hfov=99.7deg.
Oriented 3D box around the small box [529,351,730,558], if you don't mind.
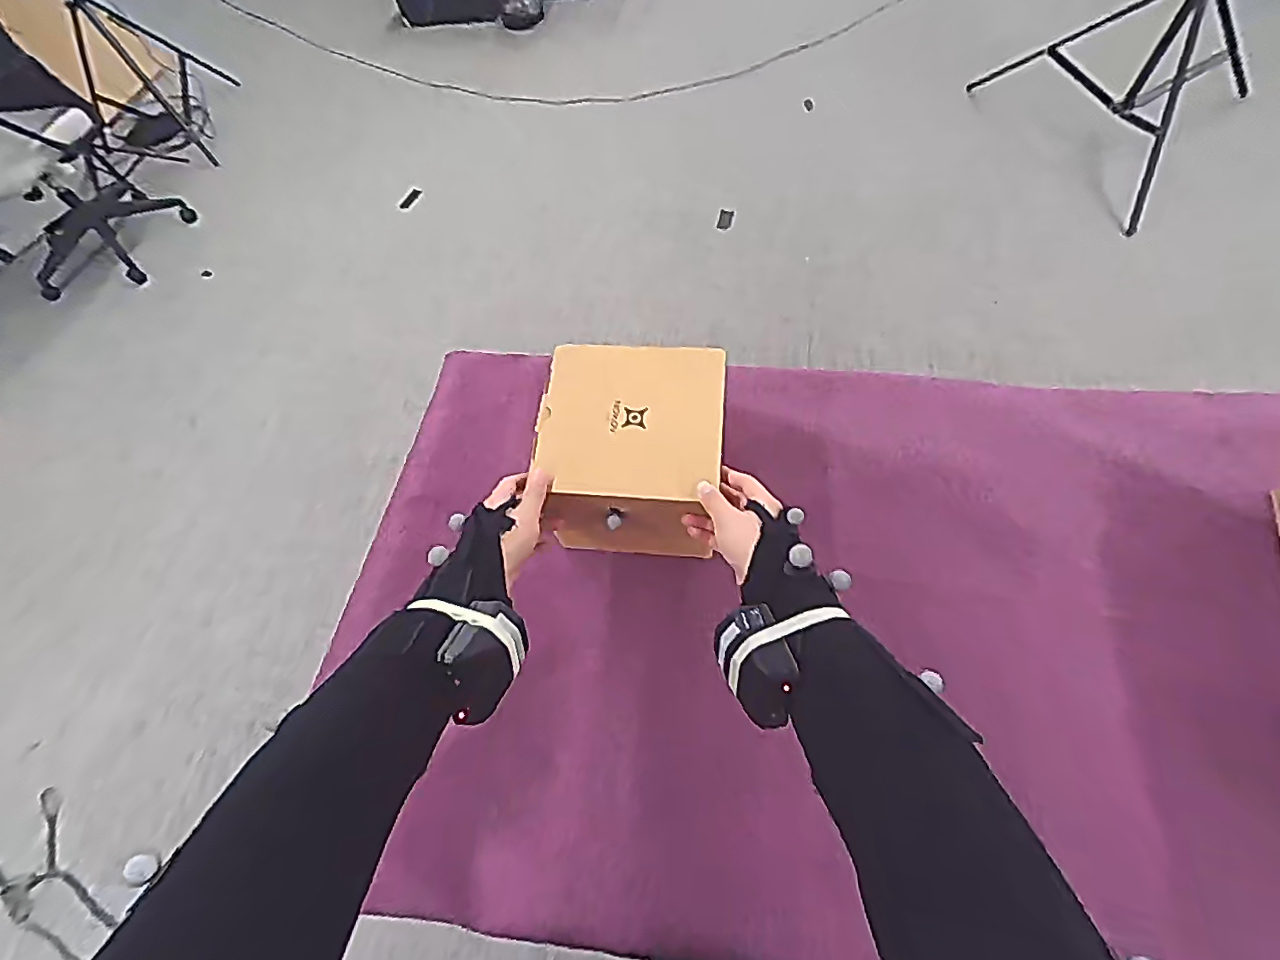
[{"bbox_3d":[0.001,-0.019,0.584,0.179,0.176,0.168,3,65,8],"label":"small box"}]
